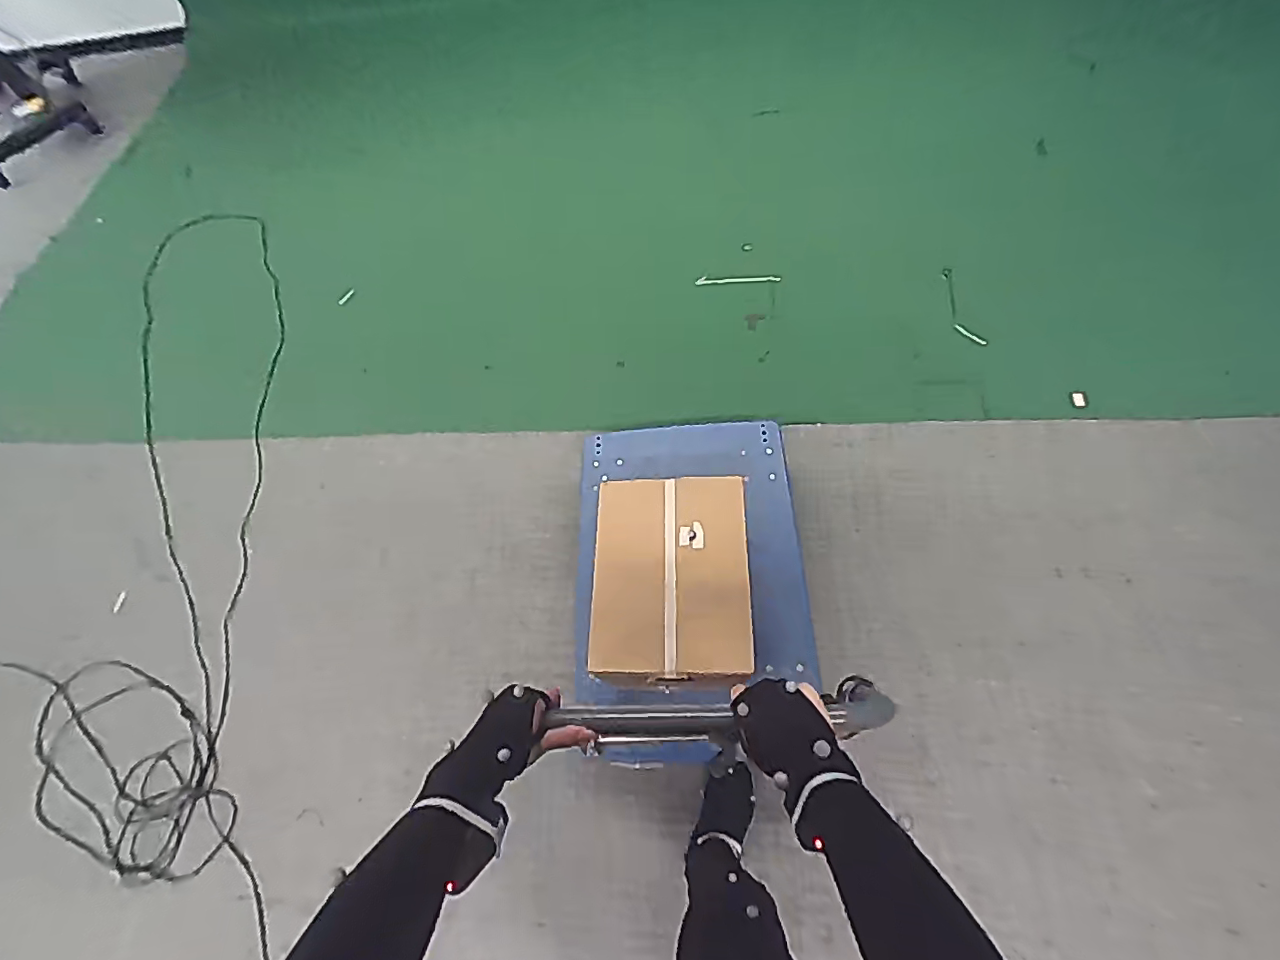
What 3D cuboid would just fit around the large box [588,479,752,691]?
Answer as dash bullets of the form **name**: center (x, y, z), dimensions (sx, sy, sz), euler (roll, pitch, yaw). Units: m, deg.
- **large box**: center (0.077, 0.249, 1.225), dimensions (0.320, 0.320, 0.408), euler (-2, 62, 7)
